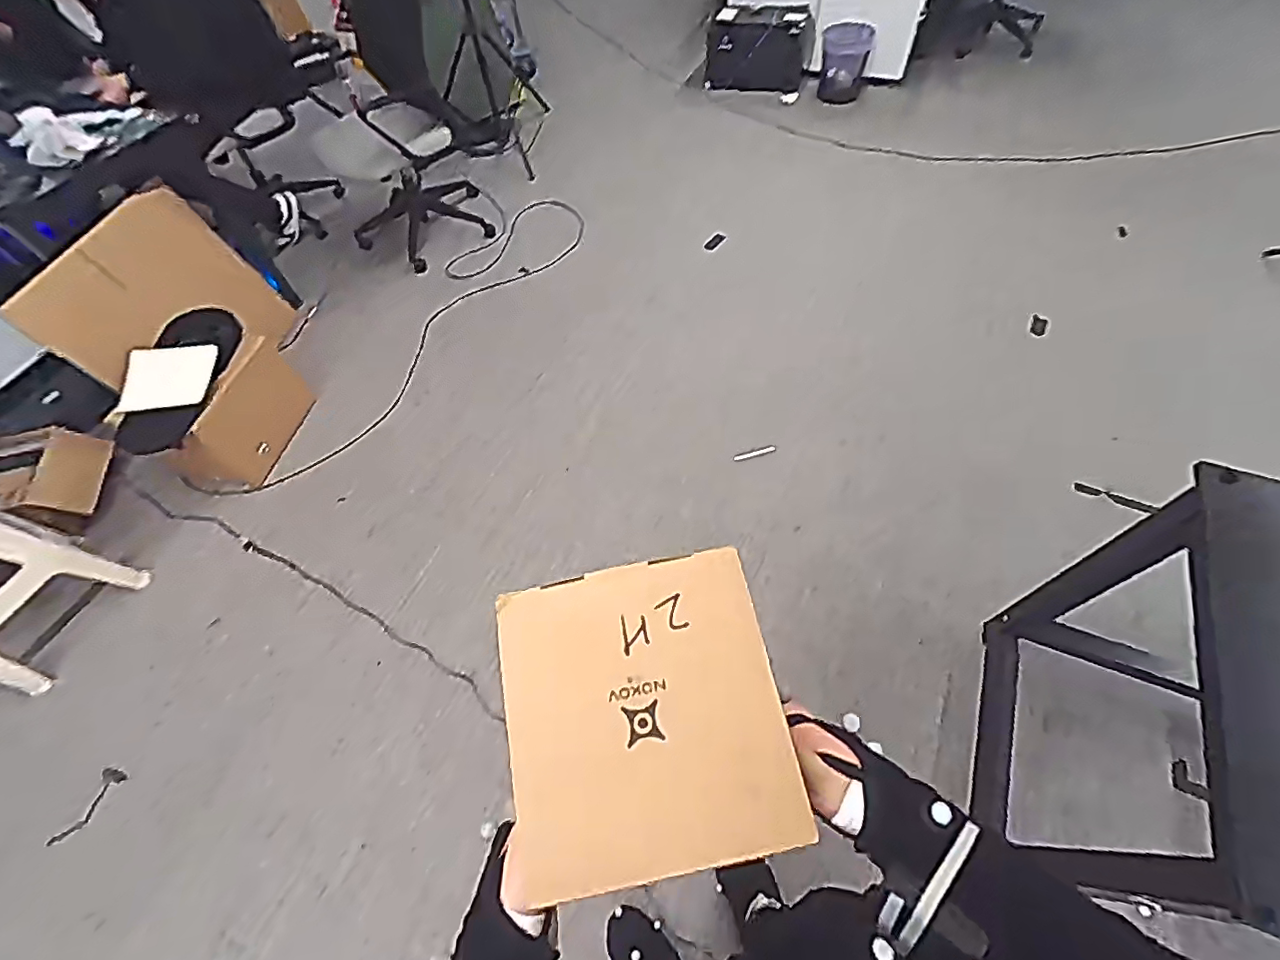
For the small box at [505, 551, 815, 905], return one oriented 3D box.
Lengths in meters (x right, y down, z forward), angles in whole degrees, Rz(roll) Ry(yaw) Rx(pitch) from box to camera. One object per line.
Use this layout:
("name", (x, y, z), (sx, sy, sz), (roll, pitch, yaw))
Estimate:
("small box", (0.009, 0.171, 0.404), (0.168, 0.176, 0.179), (-12, 66, -2))
